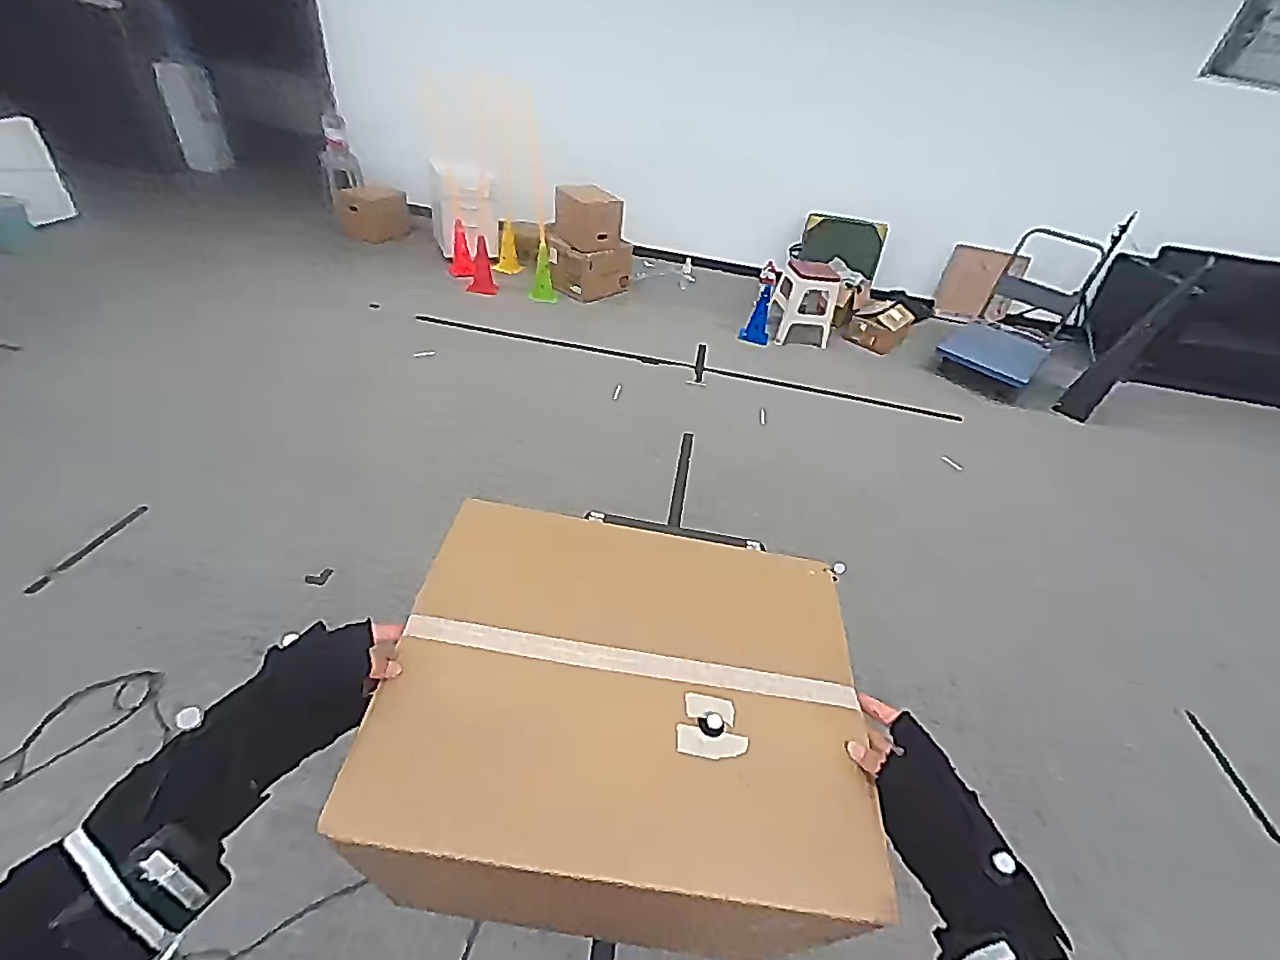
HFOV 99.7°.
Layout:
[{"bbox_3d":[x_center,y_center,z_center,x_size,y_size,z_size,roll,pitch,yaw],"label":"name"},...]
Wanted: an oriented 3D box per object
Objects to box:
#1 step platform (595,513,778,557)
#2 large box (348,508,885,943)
[{"bbox_3d":[0.142,0.319,1.889,0.684,0.204,0.286,10,39,-1],"label":"step platform"},{"bbox_3d":[-0.025,0.271,0.595,0.408,0.320,0.320,11,45,-3],"label":"large box"}]
